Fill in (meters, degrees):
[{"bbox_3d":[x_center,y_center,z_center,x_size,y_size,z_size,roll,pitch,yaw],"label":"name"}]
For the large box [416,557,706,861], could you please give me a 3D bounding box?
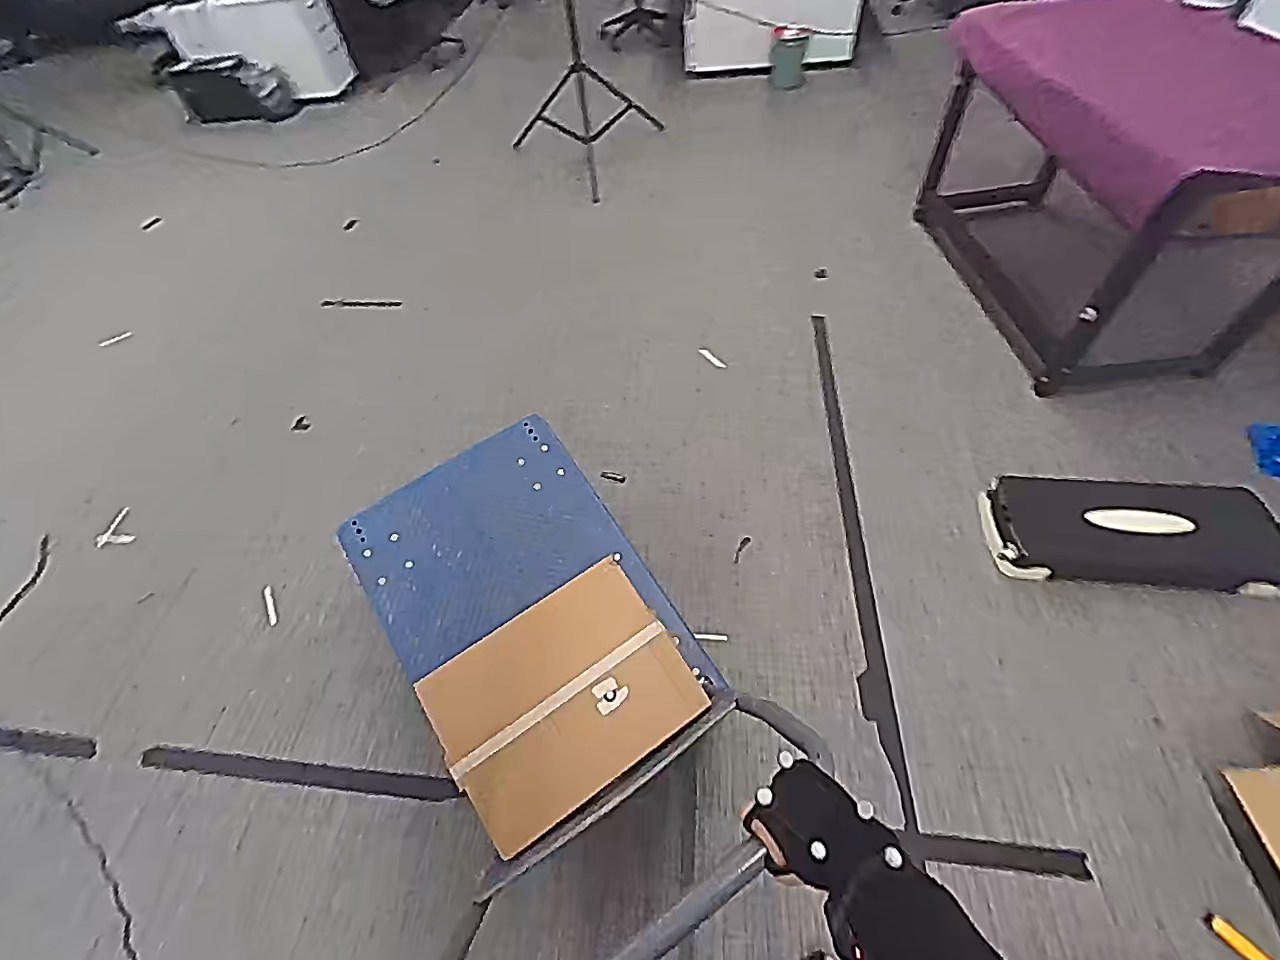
[{"bbox_3d":[-0.138,0.418,1.049,0.408,0.320,0.320,-33,74,-14],"label":"large box"}]
